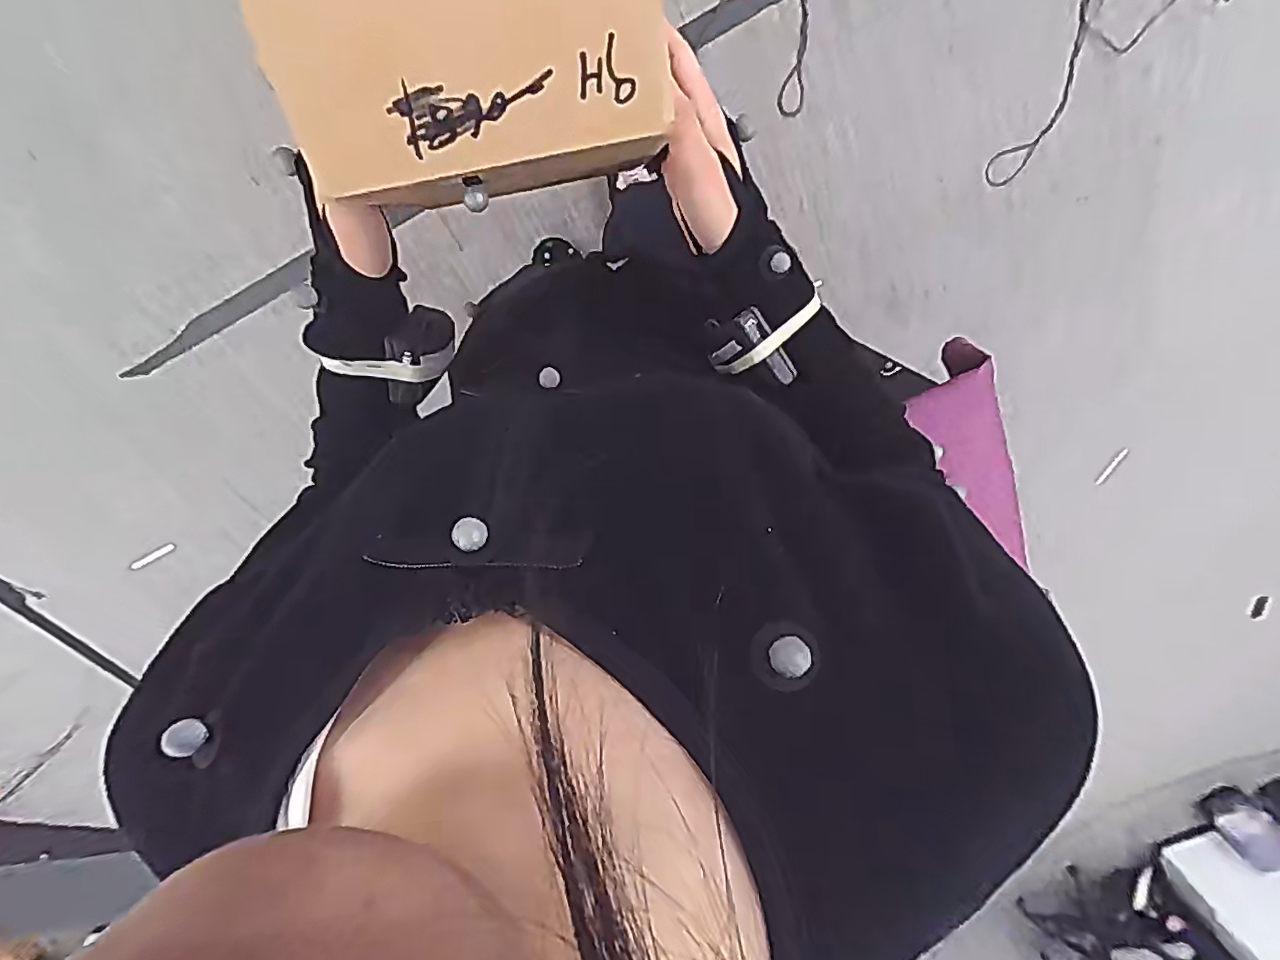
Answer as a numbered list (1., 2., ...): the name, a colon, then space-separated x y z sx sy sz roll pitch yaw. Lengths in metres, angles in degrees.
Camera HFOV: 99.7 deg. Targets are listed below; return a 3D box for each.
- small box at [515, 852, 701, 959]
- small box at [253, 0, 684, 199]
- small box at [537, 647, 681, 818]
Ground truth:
1. small box: -0.031 0.563 0.603 0.179 0.176 0.168 -26 117 7
2. small box: -0.081 -0.255 0.273 0.168 0.176 0.179 -11 116 0
3. small box: -0.052 0.410 0.895 0.179 0.176 0.168 -25 116 8
